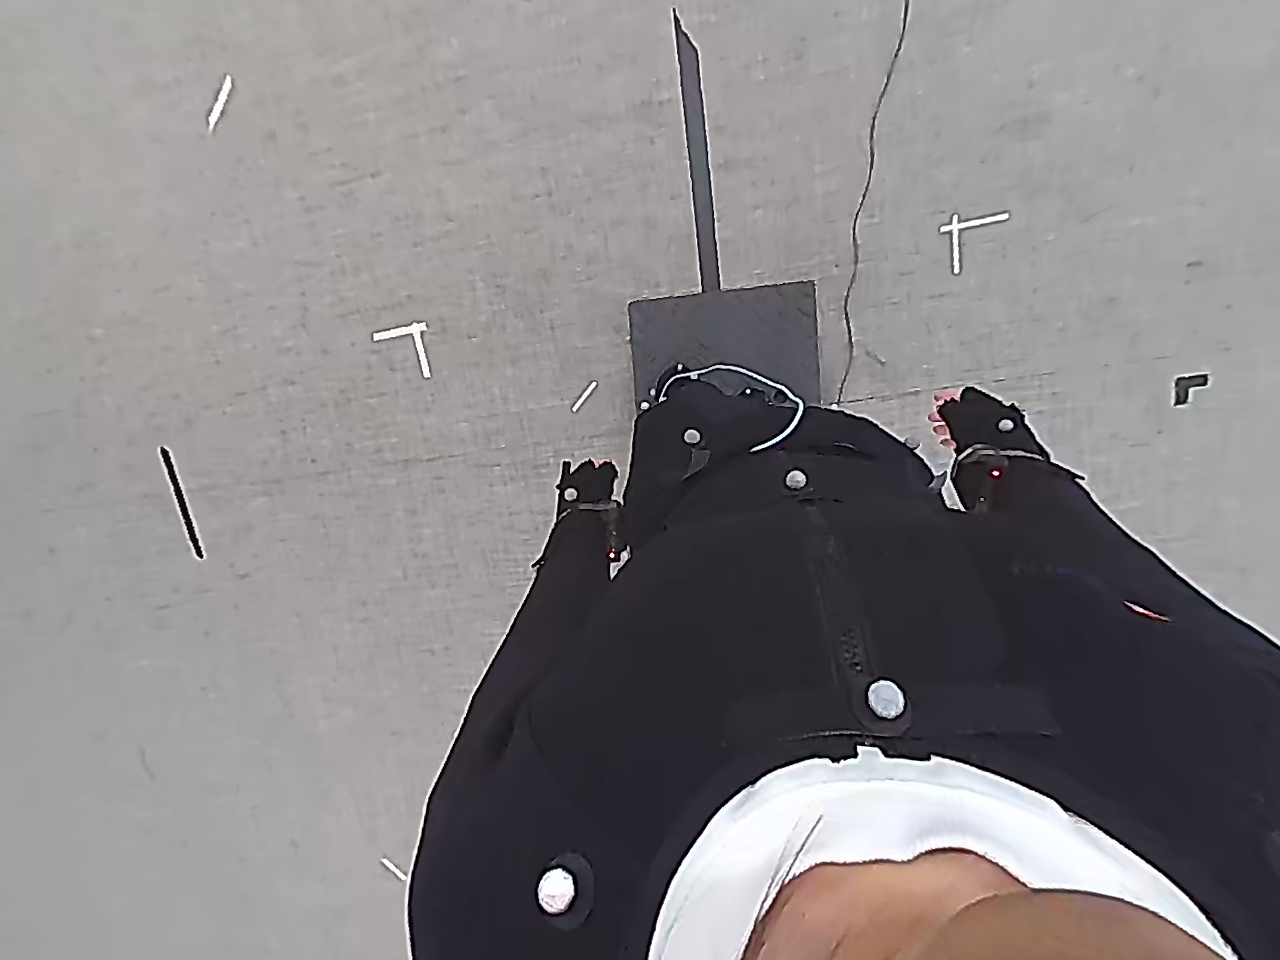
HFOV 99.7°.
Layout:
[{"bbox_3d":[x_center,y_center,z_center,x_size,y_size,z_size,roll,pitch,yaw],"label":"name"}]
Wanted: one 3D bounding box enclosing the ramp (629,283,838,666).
[{"bbox_3d":[0.242,0.003,1.450,0.509,0.206,0.991,-5,101,11],"label":"ramp"}]
